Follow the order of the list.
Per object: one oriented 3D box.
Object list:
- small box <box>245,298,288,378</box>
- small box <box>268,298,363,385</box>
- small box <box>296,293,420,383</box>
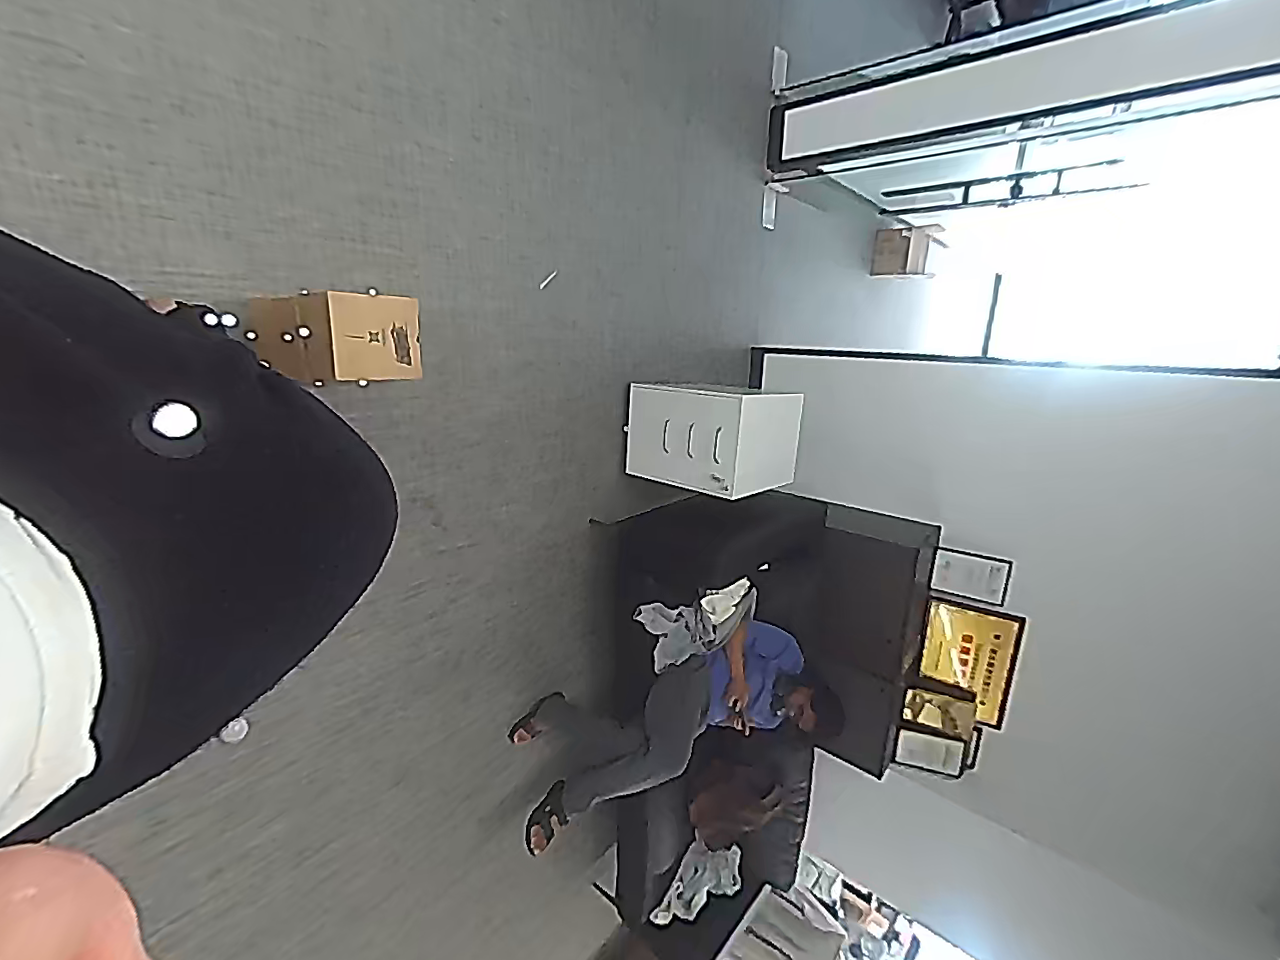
[{"bbox_3d":[-0.837,-0.346,1.322,0.168,0.176,0.179,-14,113,-49],"label":"small box"},{"bbox_3d":[-0.714,-0.315,1.223,0.168,0.176,0.179,-16,116,-47],"label":"small box"},{"bbox_3d":[-0.583,-0.292,1.123,0.179,0.176,0.168,-13,110,-47],"label":"small box"}]
